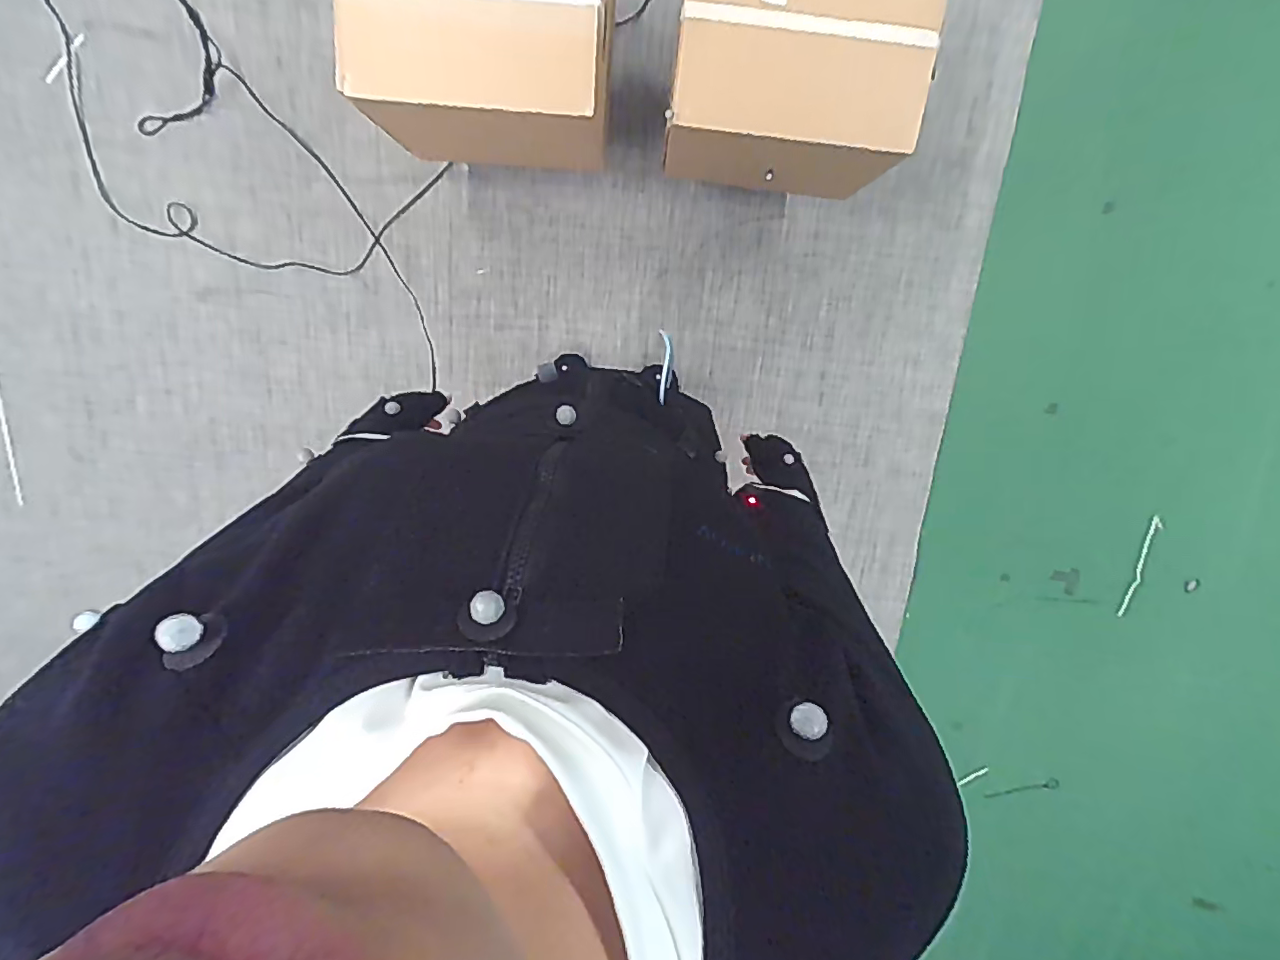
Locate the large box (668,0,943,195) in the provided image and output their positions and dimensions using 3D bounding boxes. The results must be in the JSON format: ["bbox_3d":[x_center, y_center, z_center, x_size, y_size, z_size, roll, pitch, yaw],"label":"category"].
[{"bbox_3d":[0.273,-0.746,1.001,0.408,0.320,0.320,7,104,-1],"label":"large box"}]
